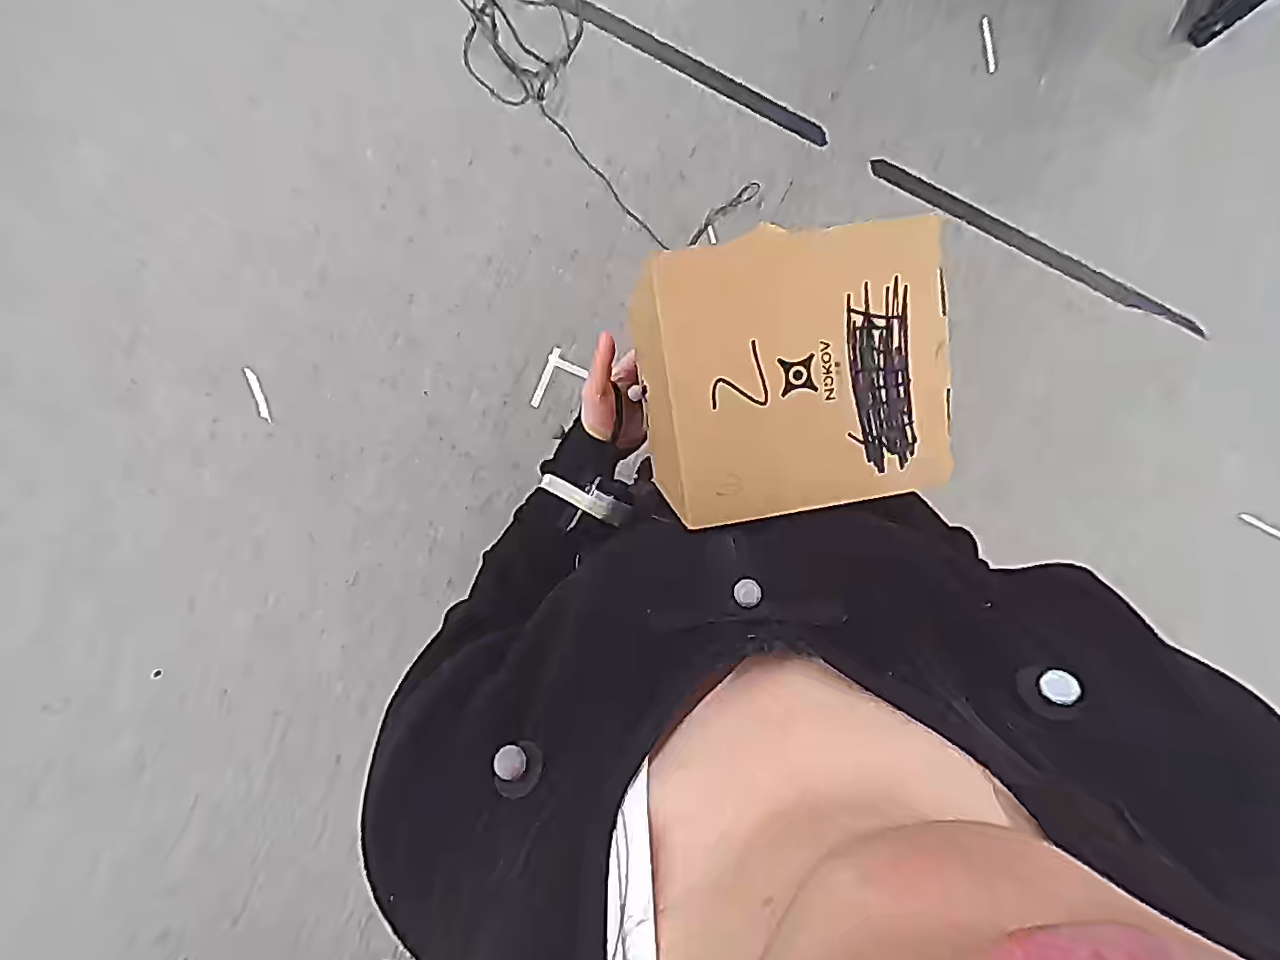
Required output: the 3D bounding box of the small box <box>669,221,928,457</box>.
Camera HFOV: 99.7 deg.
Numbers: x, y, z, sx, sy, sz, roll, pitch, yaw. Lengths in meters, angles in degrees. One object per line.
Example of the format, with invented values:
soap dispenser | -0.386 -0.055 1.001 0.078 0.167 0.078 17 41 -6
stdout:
small box | 0.150 -0.136 0.572 0.179 0.176 0.168 20 94 -11
